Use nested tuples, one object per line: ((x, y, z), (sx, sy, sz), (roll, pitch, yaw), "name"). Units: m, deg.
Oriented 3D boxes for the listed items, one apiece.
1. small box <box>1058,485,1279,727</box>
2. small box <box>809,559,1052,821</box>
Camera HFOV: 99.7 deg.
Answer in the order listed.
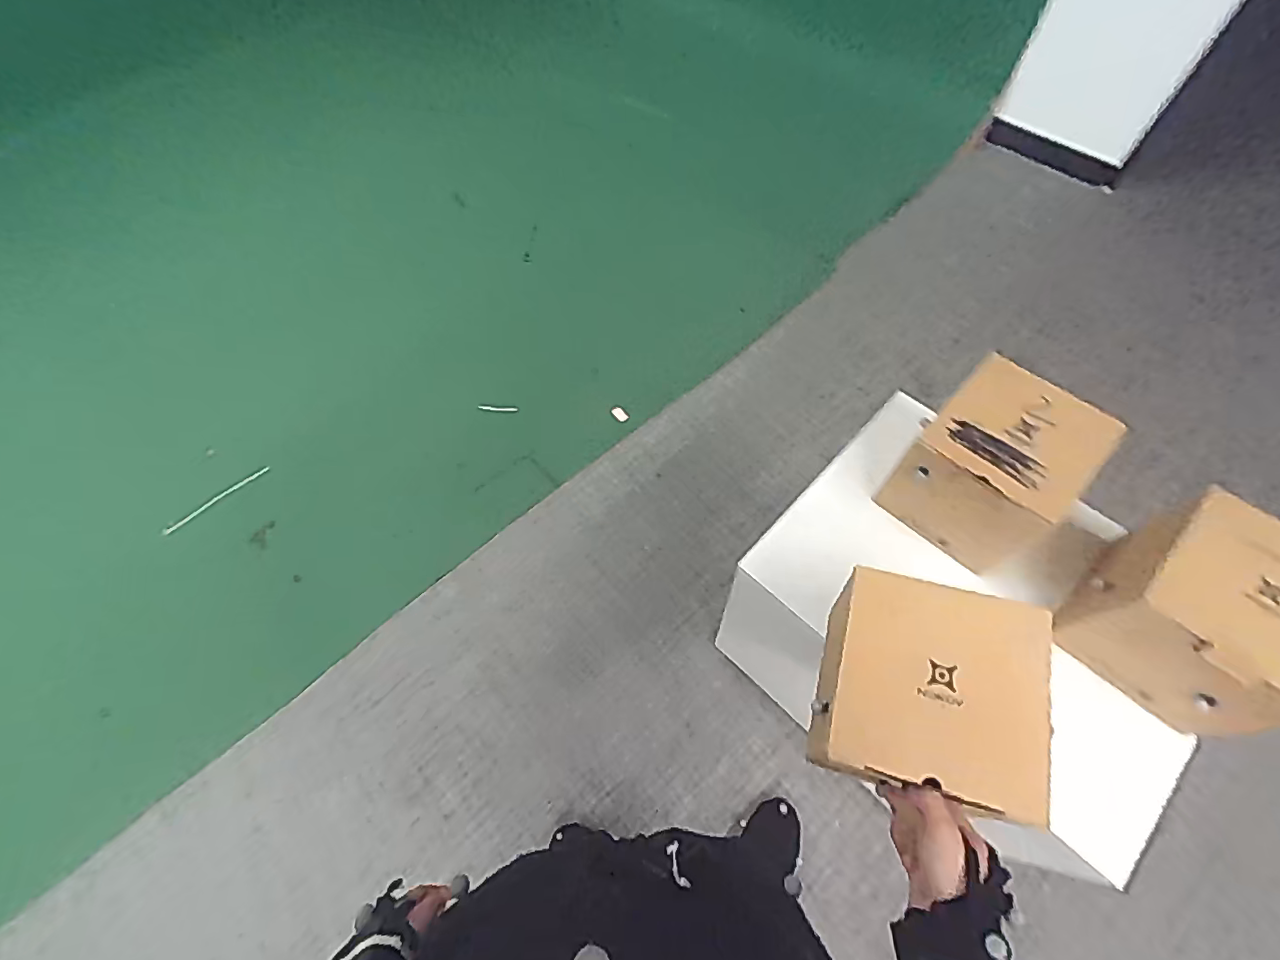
((0.614, 0.146, 0.593), (0.179, 0.176, 0.168), (-42, 68, -17), "small box")
((0.269, 0.201, 0.531), (0.168, 0.176, 0.179), (12, 67, 16), "small box")
